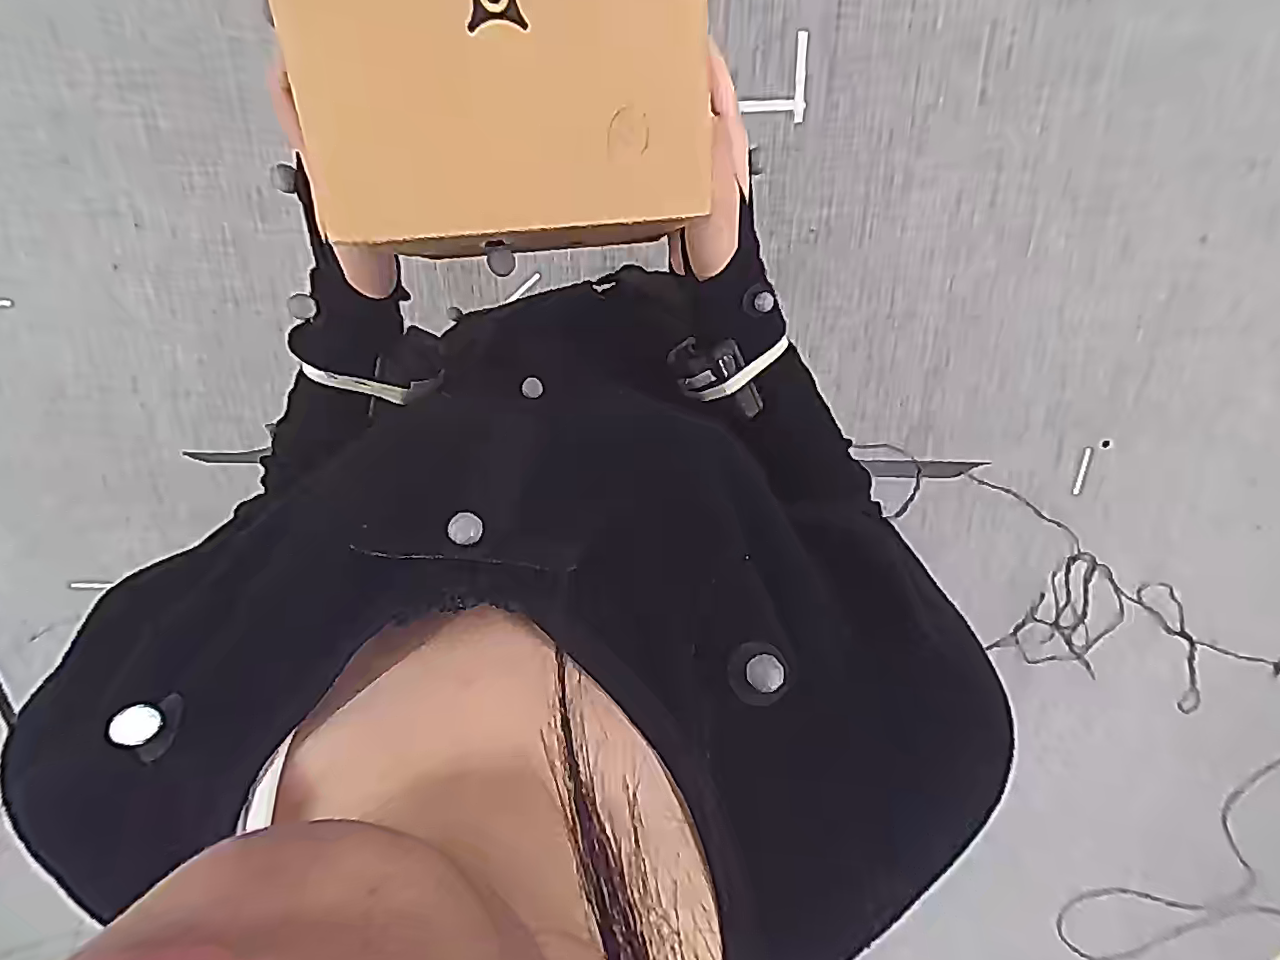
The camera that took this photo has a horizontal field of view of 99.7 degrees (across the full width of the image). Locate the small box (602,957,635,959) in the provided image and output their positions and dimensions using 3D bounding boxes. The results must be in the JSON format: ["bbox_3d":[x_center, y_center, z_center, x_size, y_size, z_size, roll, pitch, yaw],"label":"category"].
[{"bbox_3d":[-0.009,1.056,1.021,0.168,0.176,0.179,2,108,-1],"label":"small box"}]

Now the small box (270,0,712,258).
[{"bbox_3d":[-0.061,-0.212,0.276,0.168,0.176,0.179,-6,110,-4],"label":"small box"}]
